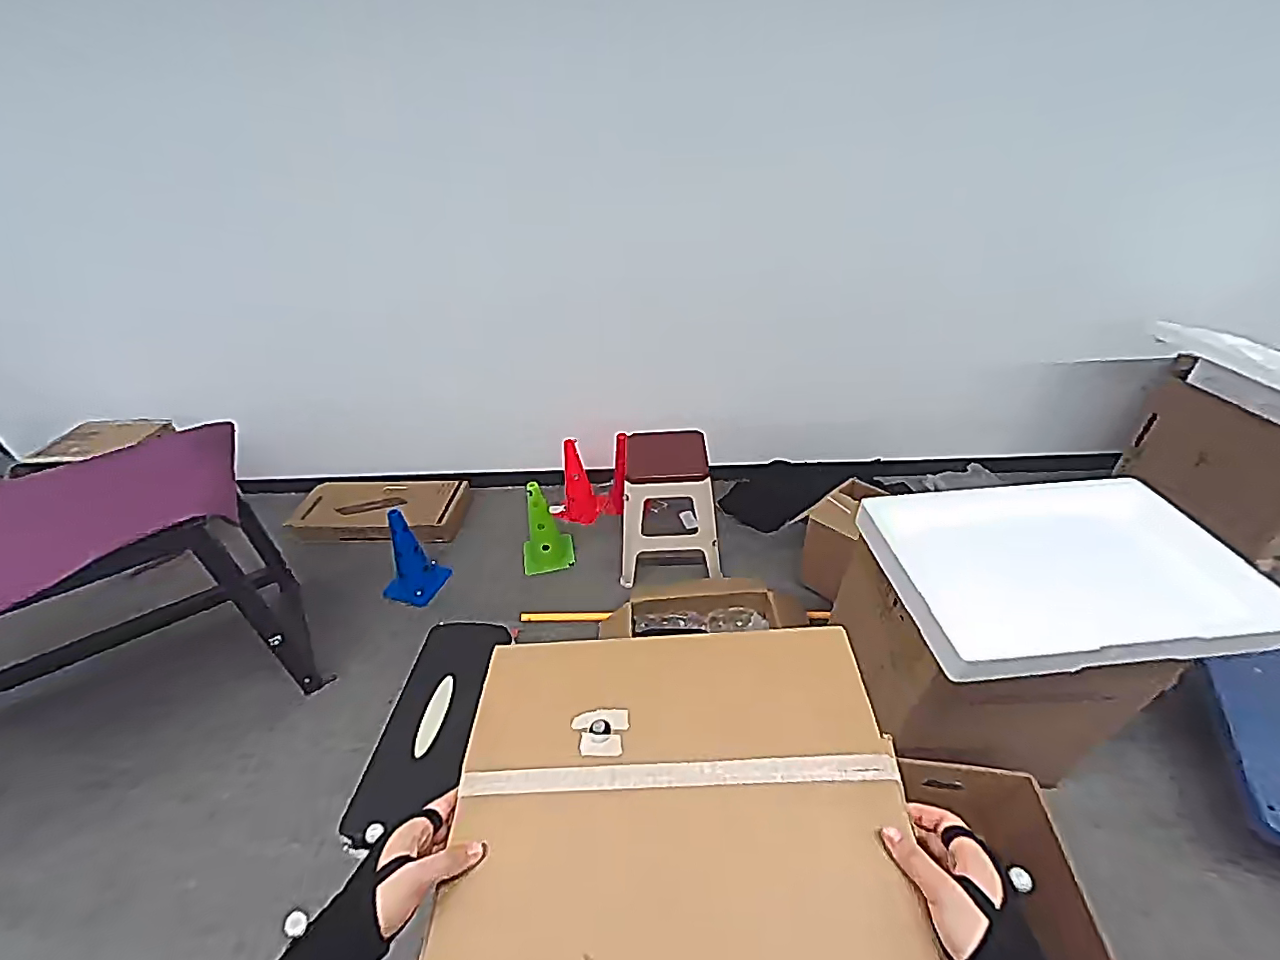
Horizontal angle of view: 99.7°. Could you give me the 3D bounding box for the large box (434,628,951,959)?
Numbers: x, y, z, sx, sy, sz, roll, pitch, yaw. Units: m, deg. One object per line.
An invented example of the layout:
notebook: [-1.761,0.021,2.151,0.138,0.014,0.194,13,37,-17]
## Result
large box: [0.052,0.401,0.605,0.408,0.320,0.320,-6,38,6]
